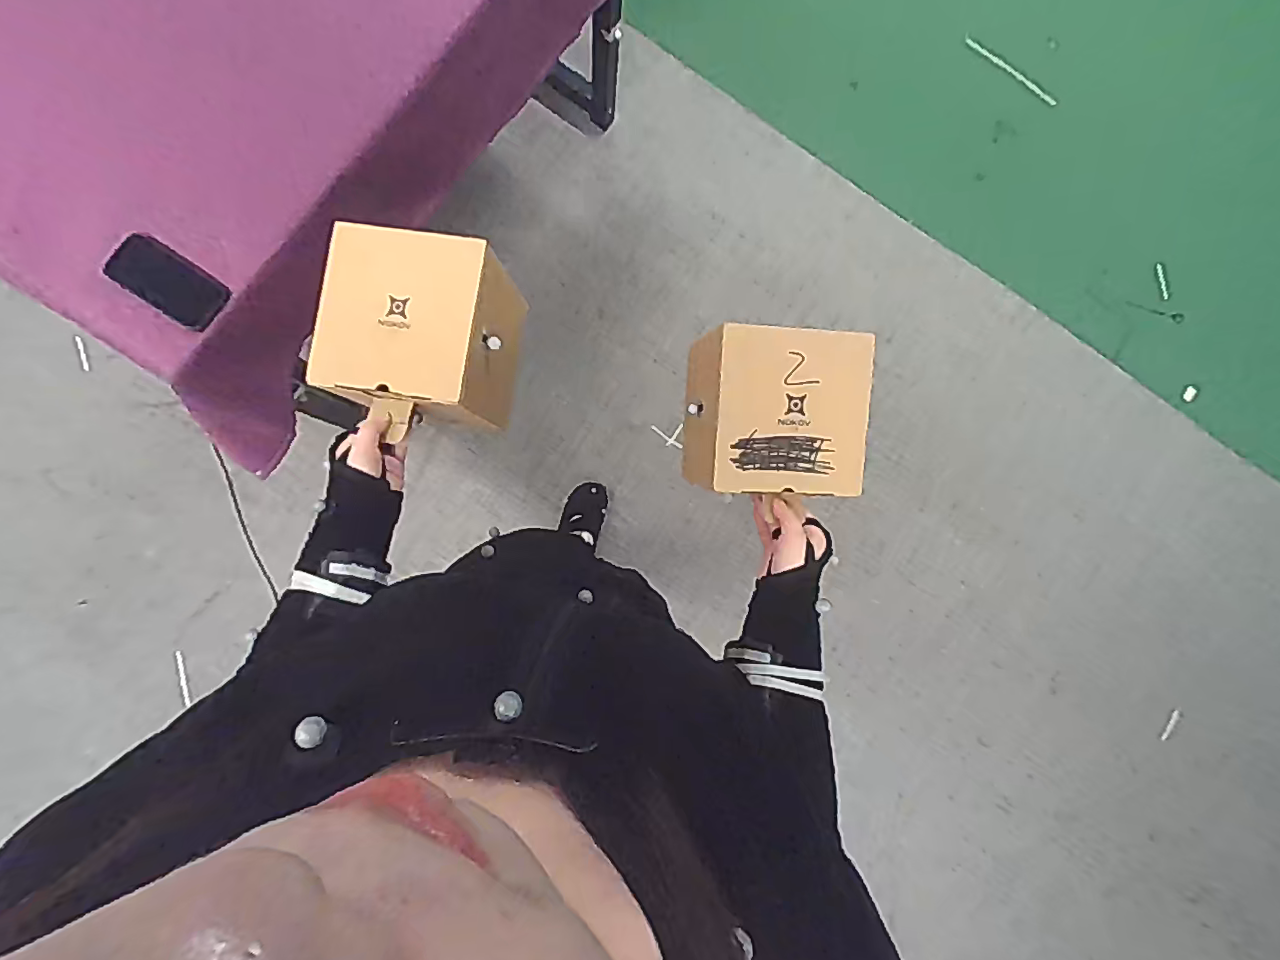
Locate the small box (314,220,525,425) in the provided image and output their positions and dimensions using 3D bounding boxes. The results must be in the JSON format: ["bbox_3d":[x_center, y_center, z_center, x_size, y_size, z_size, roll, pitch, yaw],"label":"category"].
[{"bbox_3d":[-0.244,-0.174,0.644,0.168,0.176,0.179,9,87,3],"label":"small box"}]
